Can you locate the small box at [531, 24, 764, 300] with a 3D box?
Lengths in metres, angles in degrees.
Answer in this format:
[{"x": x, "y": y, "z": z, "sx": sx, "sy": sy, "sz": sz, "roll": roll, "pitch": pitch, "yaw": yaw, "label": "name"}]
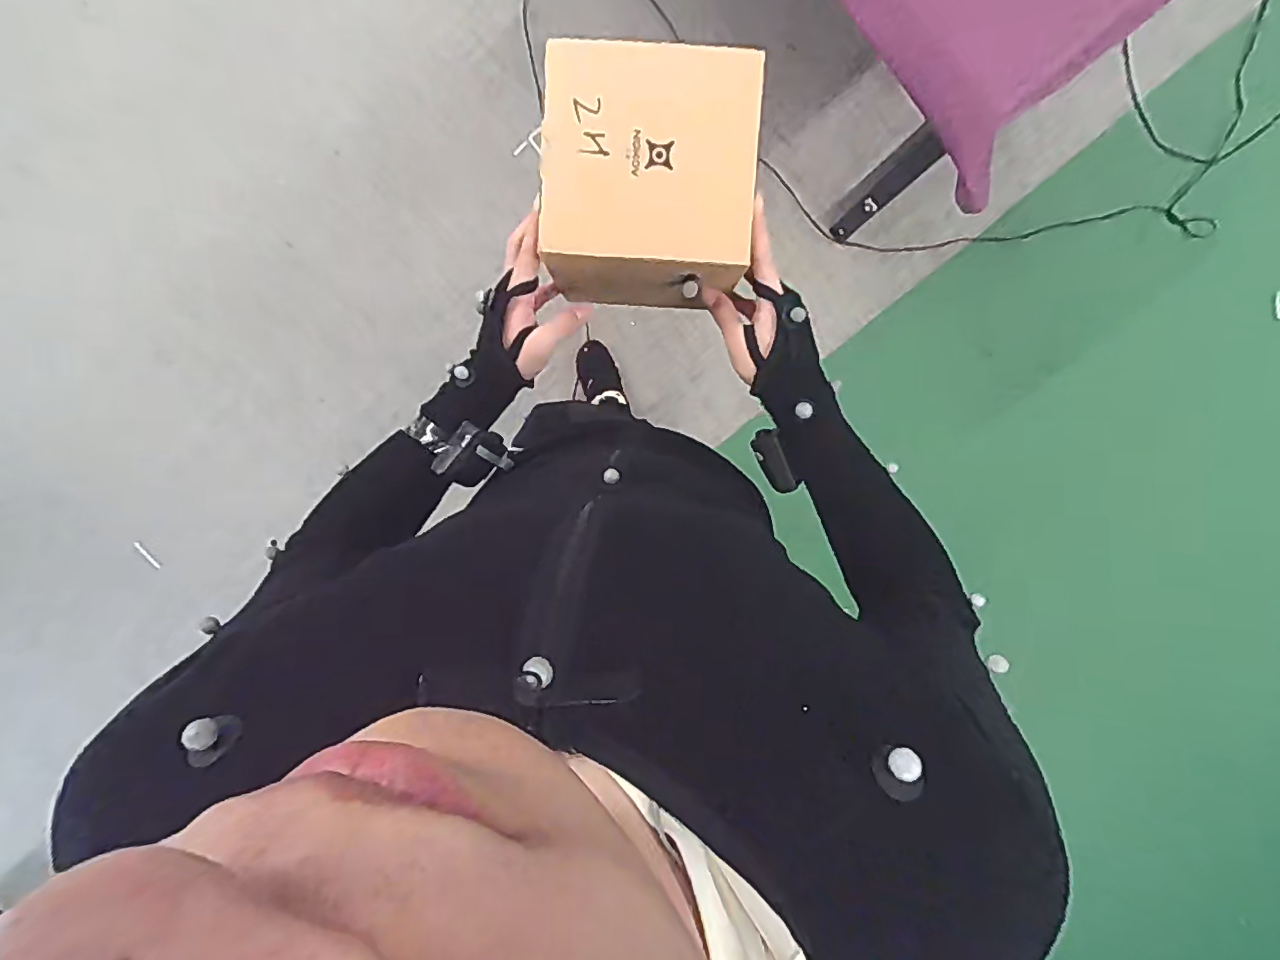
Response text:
[{"x": 0.005, "y": -0.274, "z": 0.507, "sx": 0.179, "sy": 0.176, "sz": 0.168, "roll": 4, "pitch": 95, "yaw": 1, "label": "small box"}]
